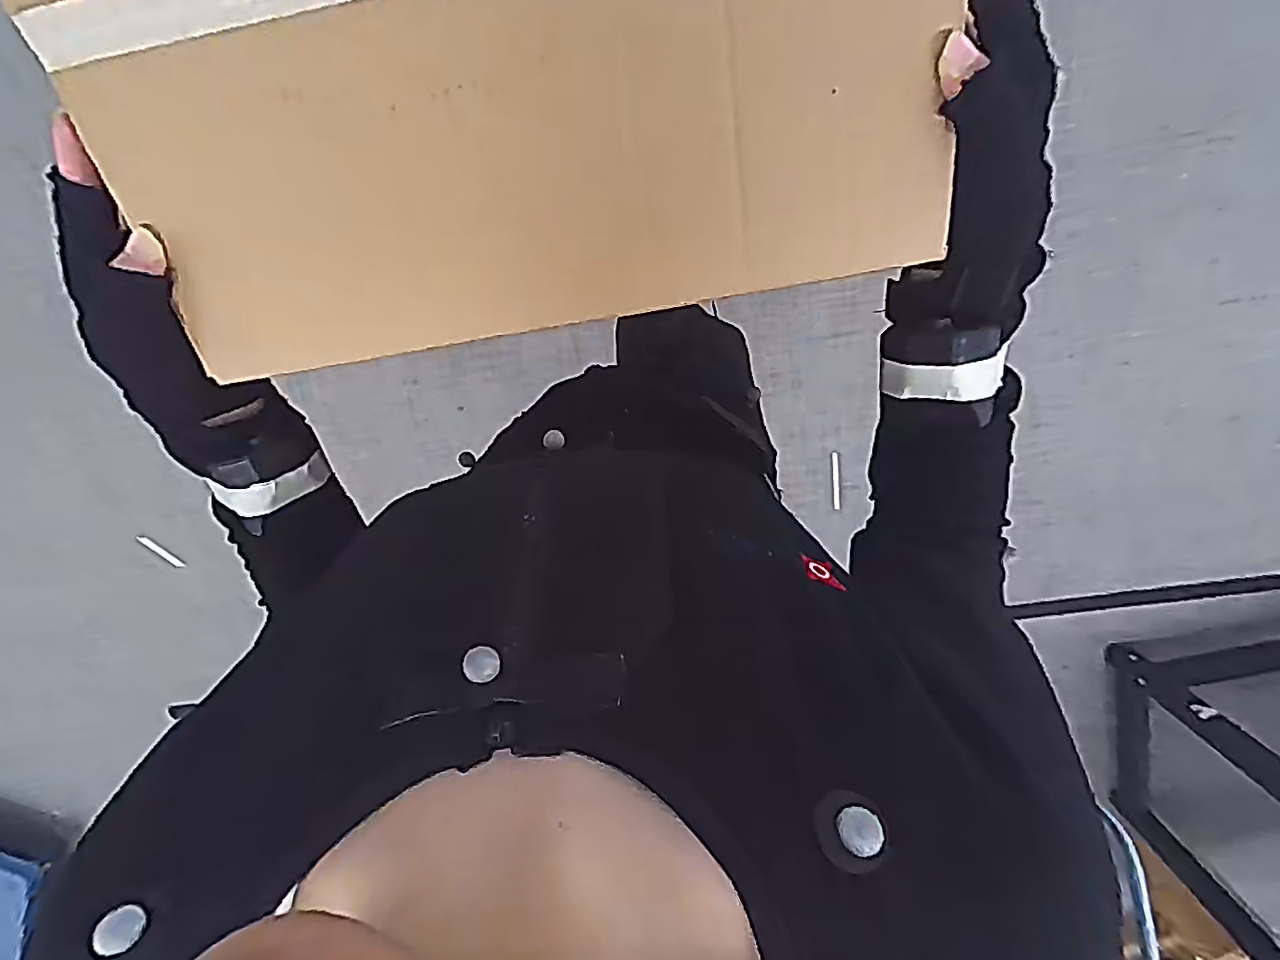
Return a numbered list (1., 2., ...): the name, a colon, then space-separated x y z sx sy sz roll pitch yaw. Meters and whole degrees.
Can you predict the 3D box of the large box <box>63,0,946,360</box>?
1. large box: -0.067 -0.299 0.370 0.408 0.320 0.320 -9 116 4
